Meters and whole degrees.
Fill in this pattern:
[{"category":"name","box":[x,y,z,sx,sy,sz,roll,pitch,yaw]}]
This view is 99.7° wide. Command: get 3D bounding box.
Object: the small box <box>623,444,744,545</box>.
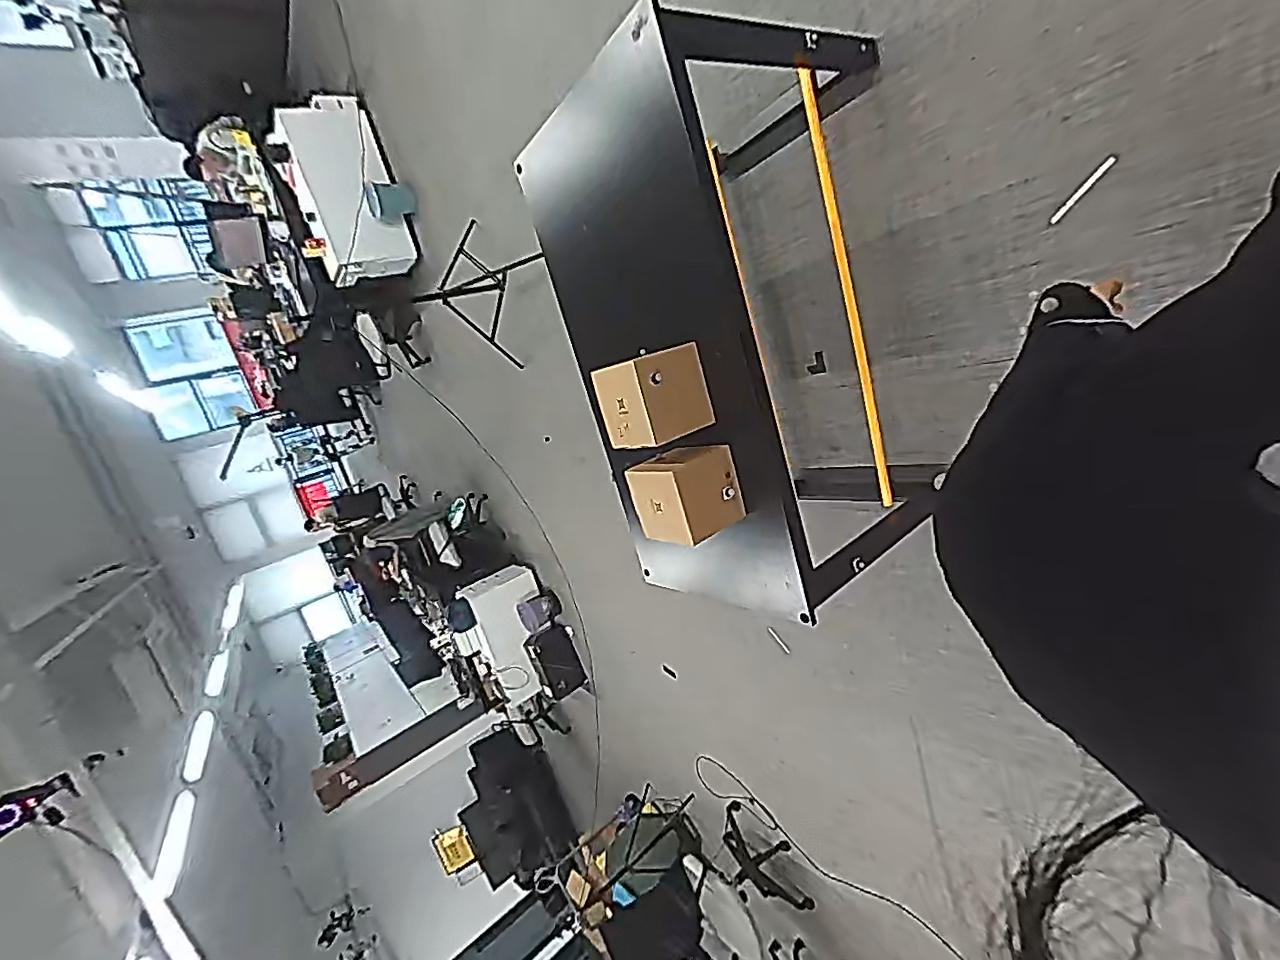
[{"category":"small box","box":[0.096,0.026,1.182,0.179,0.176,0.168,0,112,55]}]
